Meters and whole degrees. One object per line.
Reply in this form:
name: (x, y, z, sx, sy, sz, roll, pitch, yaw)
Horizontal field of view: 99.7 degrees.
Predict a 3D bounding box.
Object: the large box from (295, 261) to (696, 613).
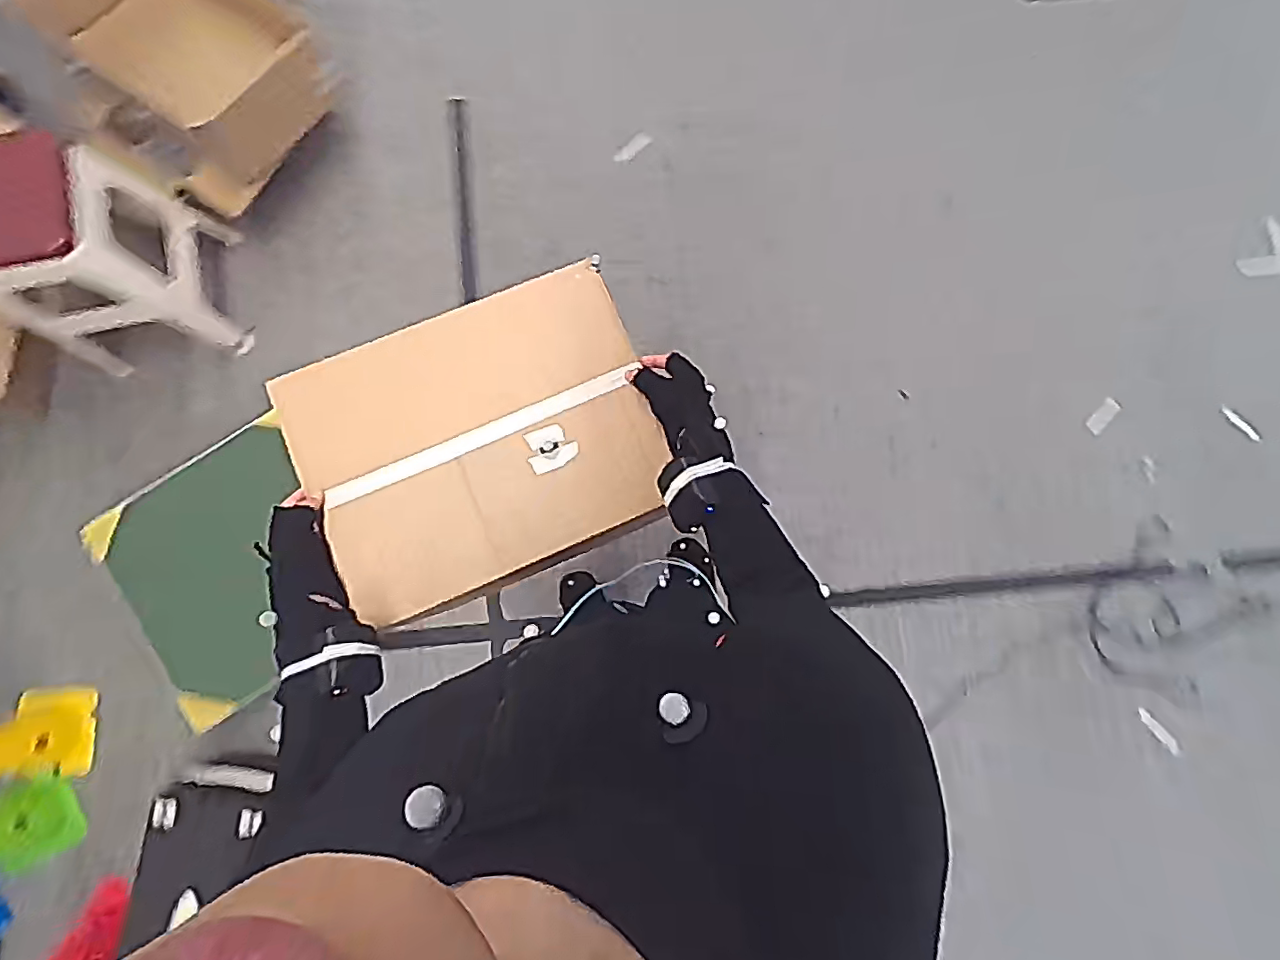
large box: (-0.178, -0.040, 0.786, 0.408, 0.320, 0.320, -22, 84, -6)
